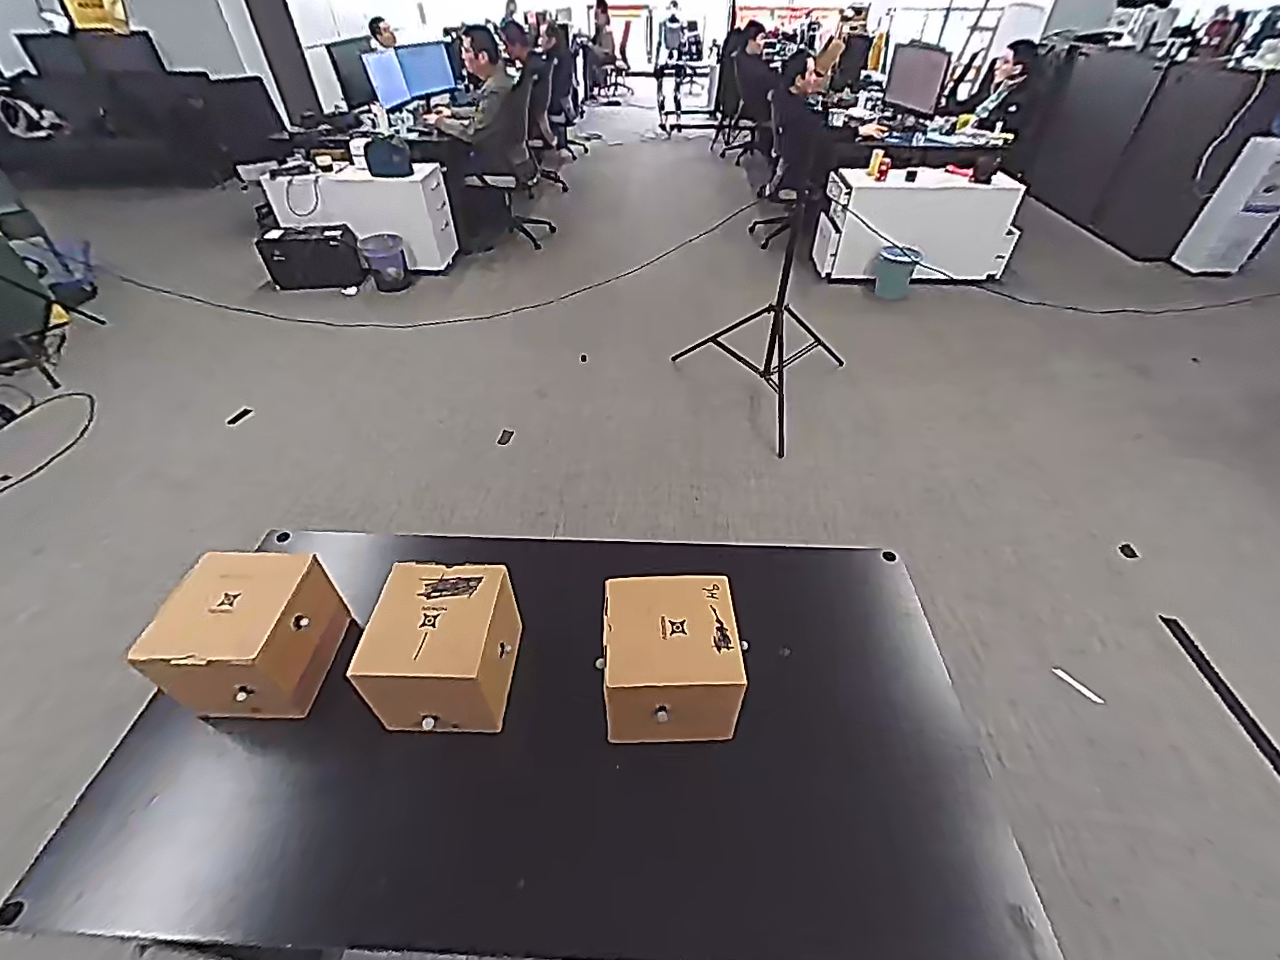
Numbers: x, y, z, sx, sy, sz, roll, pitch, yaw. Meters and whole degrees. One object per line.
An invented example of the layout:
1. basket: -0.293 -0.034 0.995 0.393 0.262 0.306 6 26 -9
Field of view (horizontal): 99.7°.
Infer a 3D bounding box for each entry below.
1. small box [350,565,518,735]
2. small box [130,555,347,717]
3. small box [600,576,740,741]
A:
1. small box: -0.280 0.245 0.785 0.168 0.176 0.179 1 44 1
2. small box: -0.567 0.232 0.799 0.168 0.176 0.179 1 42 -1
3. small box: 0.038 0.257 0.773 0.179 0.176 0.168 -2 43 -1
